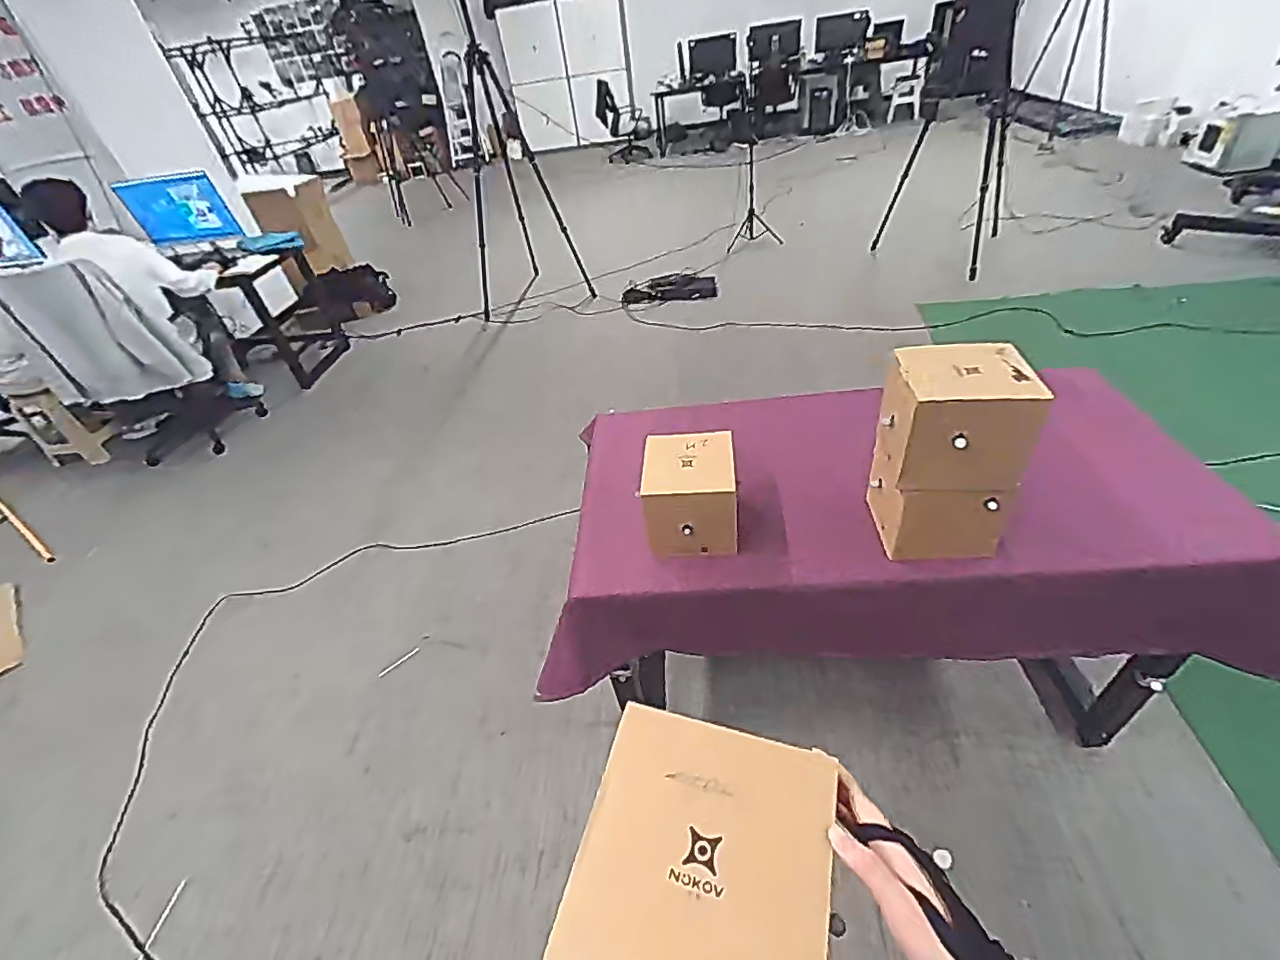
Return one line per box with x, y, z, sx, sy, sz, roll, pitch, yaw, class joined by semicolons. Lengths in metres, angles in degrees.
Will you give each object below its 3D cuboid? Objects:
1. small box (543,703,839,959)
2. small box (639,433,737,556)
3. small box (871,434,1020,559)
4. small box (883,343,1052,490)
0.050;0.307;0.414;0.168;0.176;0.179;9;48;16;small box
0.098;0.033;1.030;0.168;0.176;0.179;-2;40;8;small box
0.518;0.025;0.951;0.179;0.176;0.168;-4;40;8;small box
0.488;-0.096;0.844;0.179;0.176;0.168;-1;41;12;small box
